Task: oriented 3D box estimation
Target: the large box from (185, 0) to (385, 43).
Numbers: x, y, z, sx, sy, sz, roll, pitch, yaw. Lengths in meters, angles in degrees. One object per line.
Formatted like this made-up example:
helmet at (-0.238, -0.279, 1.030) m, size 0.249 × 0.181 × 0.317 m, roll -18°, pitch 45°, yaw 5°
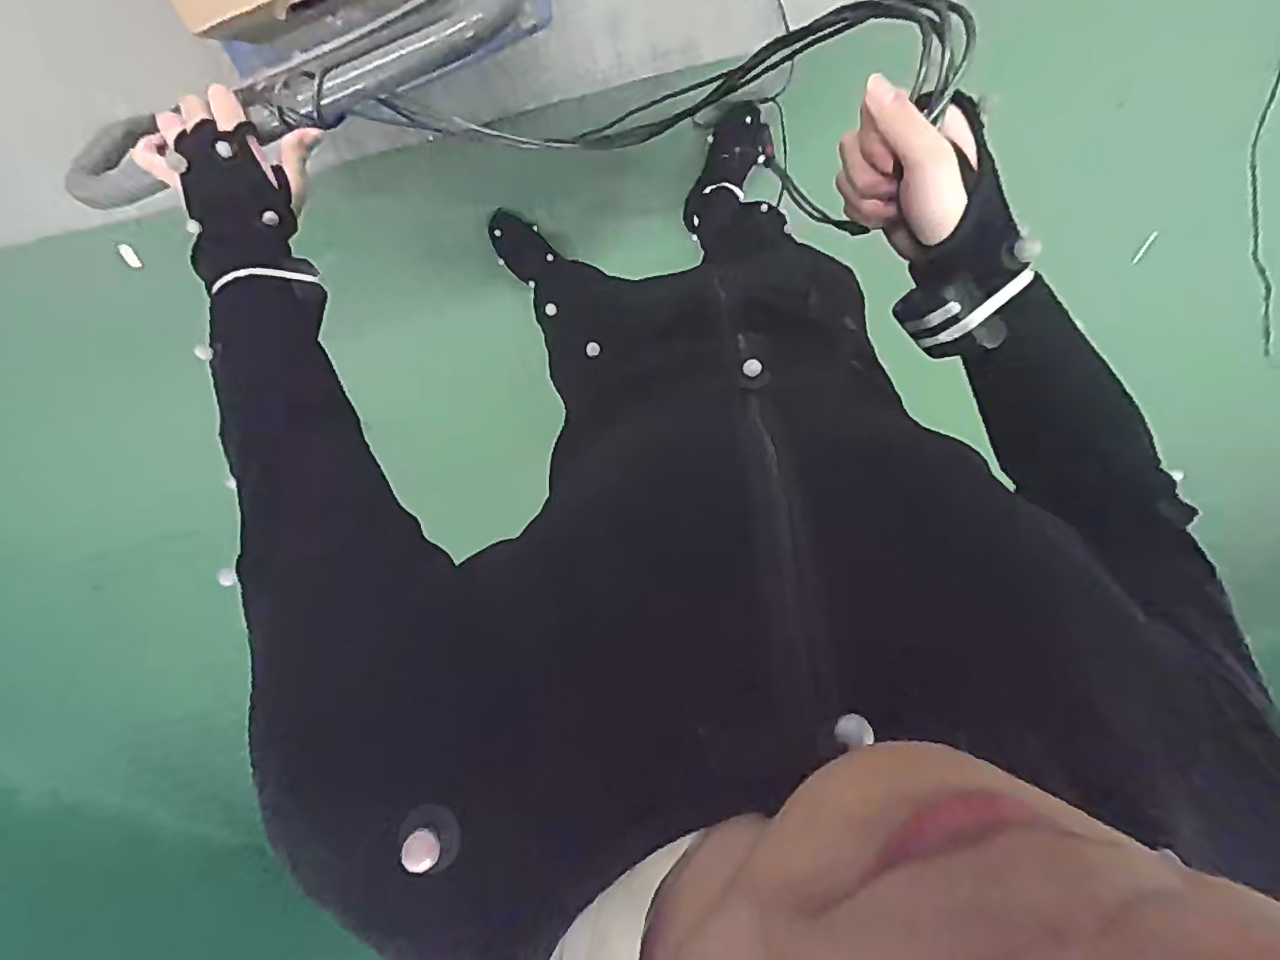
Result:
large box at (-0.524, -0.890, 0.720) m, size 0.320 × 0.320 × 0.408 m, roll -19°, pitch 126°, yaw 6°
